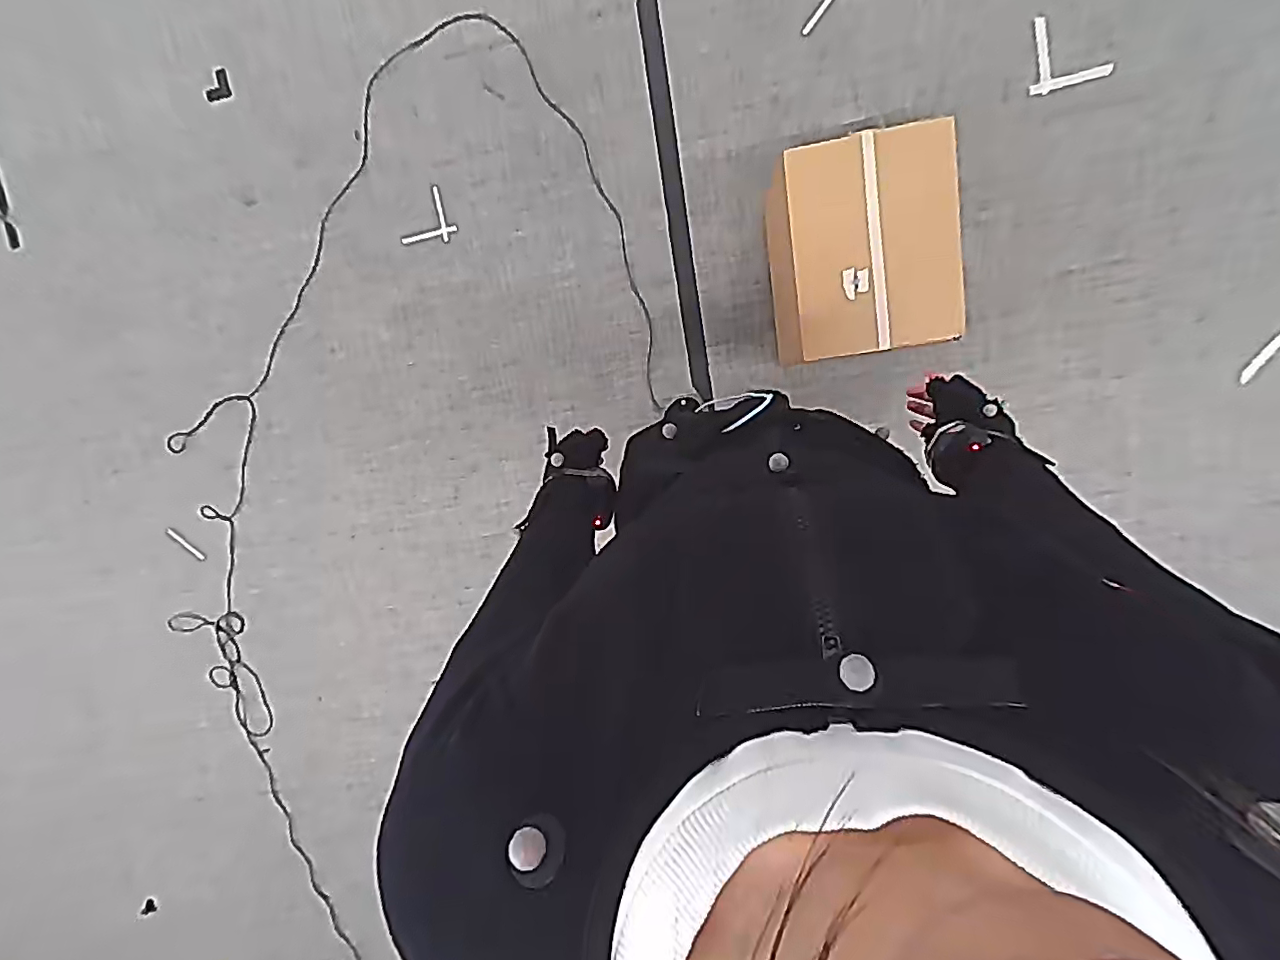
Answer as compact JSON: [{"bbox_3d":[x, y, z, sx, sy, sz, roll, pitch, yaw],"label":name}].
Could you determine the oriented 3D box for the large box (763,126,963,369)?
[{"bbox_3d":[0.470,-0.474,1.200,0.320,0.320,0.408,-8,99,8],"label":"large box"}]
